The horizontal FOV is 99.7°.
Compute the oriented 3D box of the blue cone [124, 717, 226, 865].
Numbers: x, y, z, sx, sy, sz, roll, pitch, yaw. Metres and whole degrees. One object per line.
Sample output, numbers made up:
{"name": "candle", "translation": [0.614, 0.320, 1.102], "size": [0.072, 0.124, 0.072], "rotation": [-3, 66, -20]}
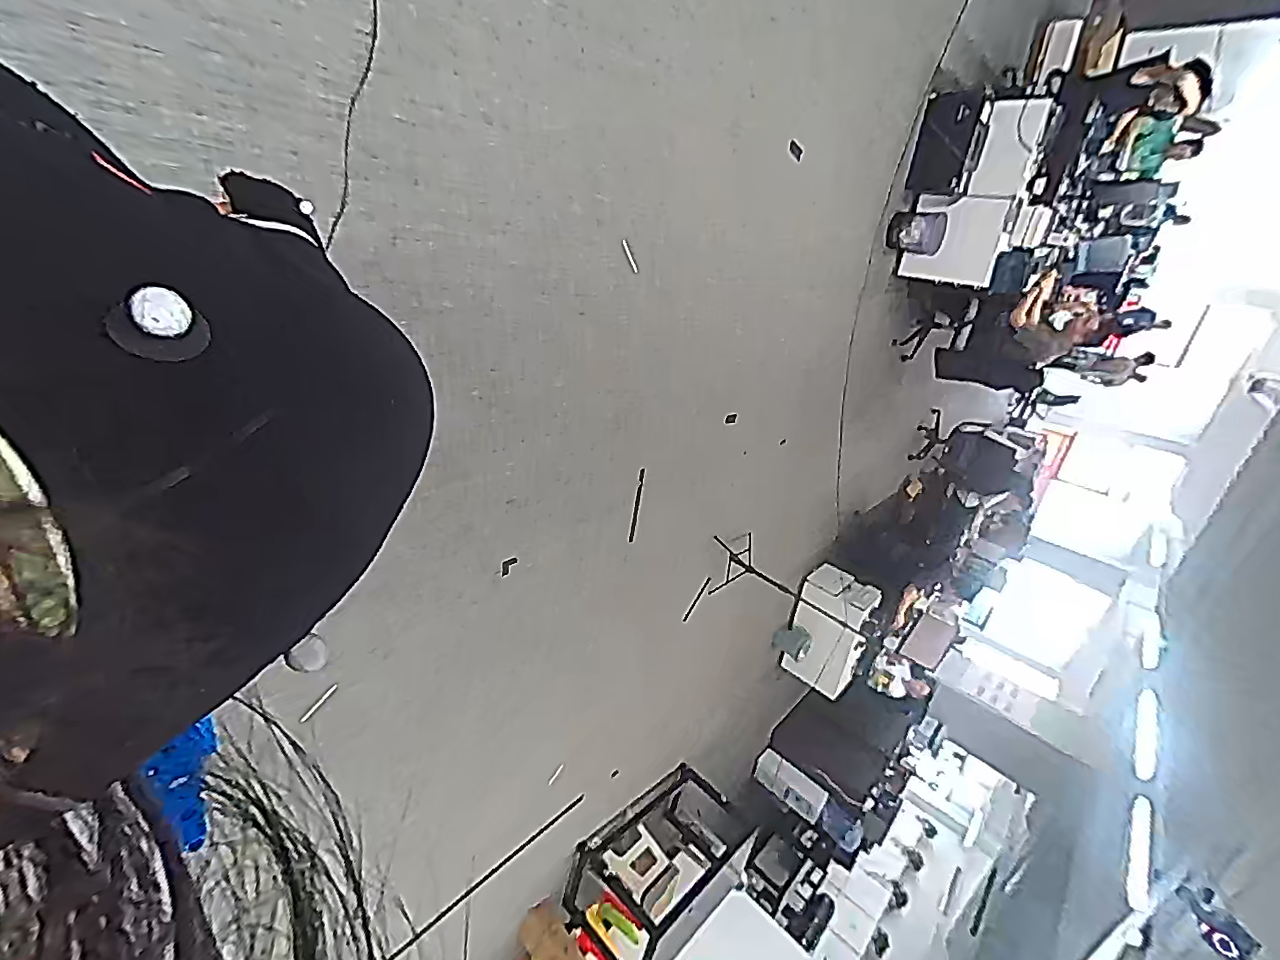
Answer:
{"name": "blue cone", "translation": [-1.111, 0.791, 1.339], "size": [0.193, 0.380, 0.192], "rotation": [-20, 125, -44]}
